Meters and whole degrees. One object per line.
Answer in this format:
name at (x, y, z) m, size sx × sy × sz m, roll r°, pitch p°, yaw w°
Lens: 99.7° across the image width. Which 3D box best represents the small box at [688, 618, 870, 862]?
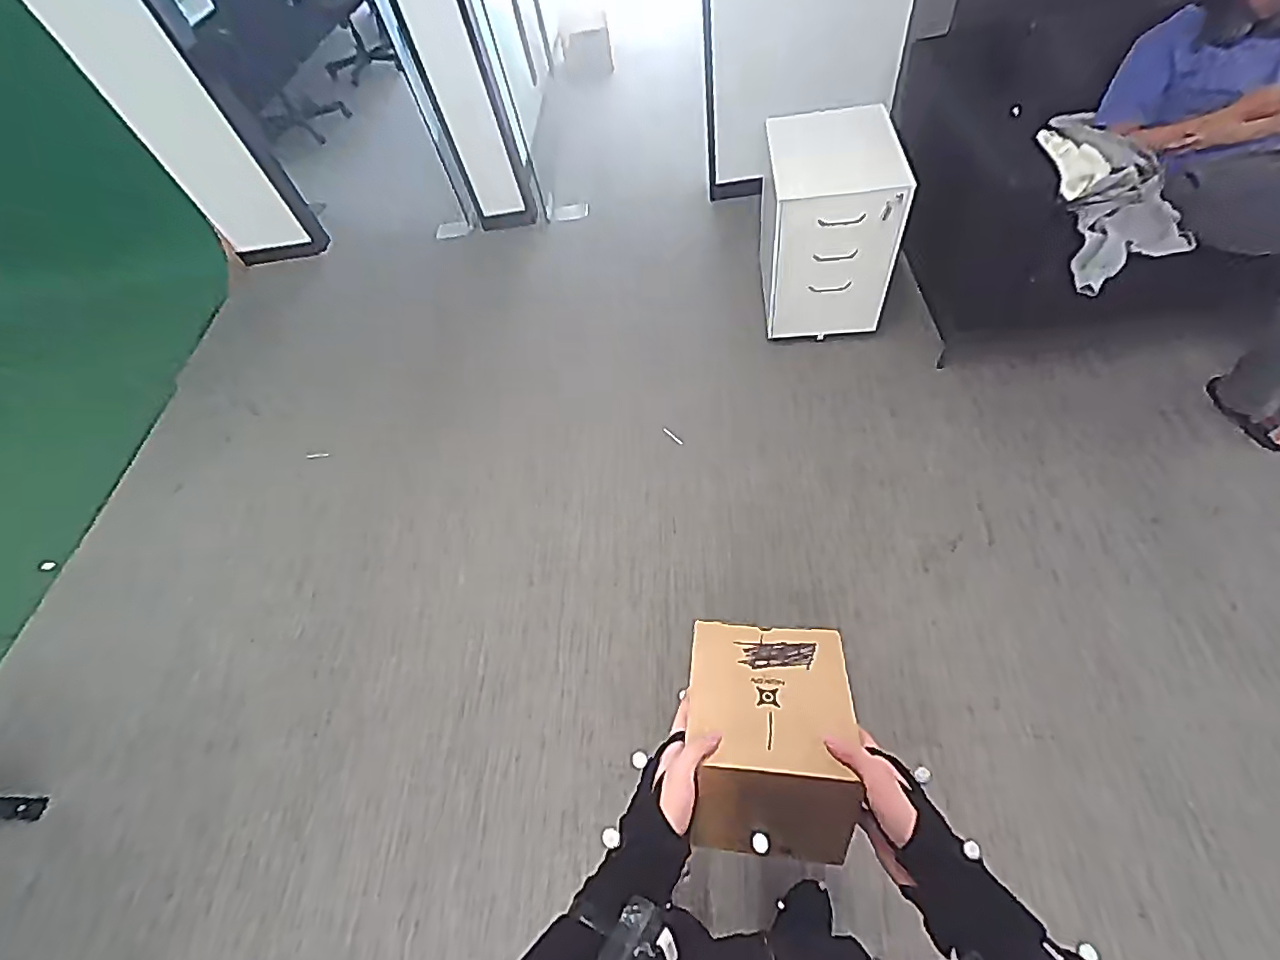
small box at (0.143, 0.282, 0.603) m, size 0.168 × 0.176 × 0.179 m, roll 1°, pitch 33°, yaw 10°
